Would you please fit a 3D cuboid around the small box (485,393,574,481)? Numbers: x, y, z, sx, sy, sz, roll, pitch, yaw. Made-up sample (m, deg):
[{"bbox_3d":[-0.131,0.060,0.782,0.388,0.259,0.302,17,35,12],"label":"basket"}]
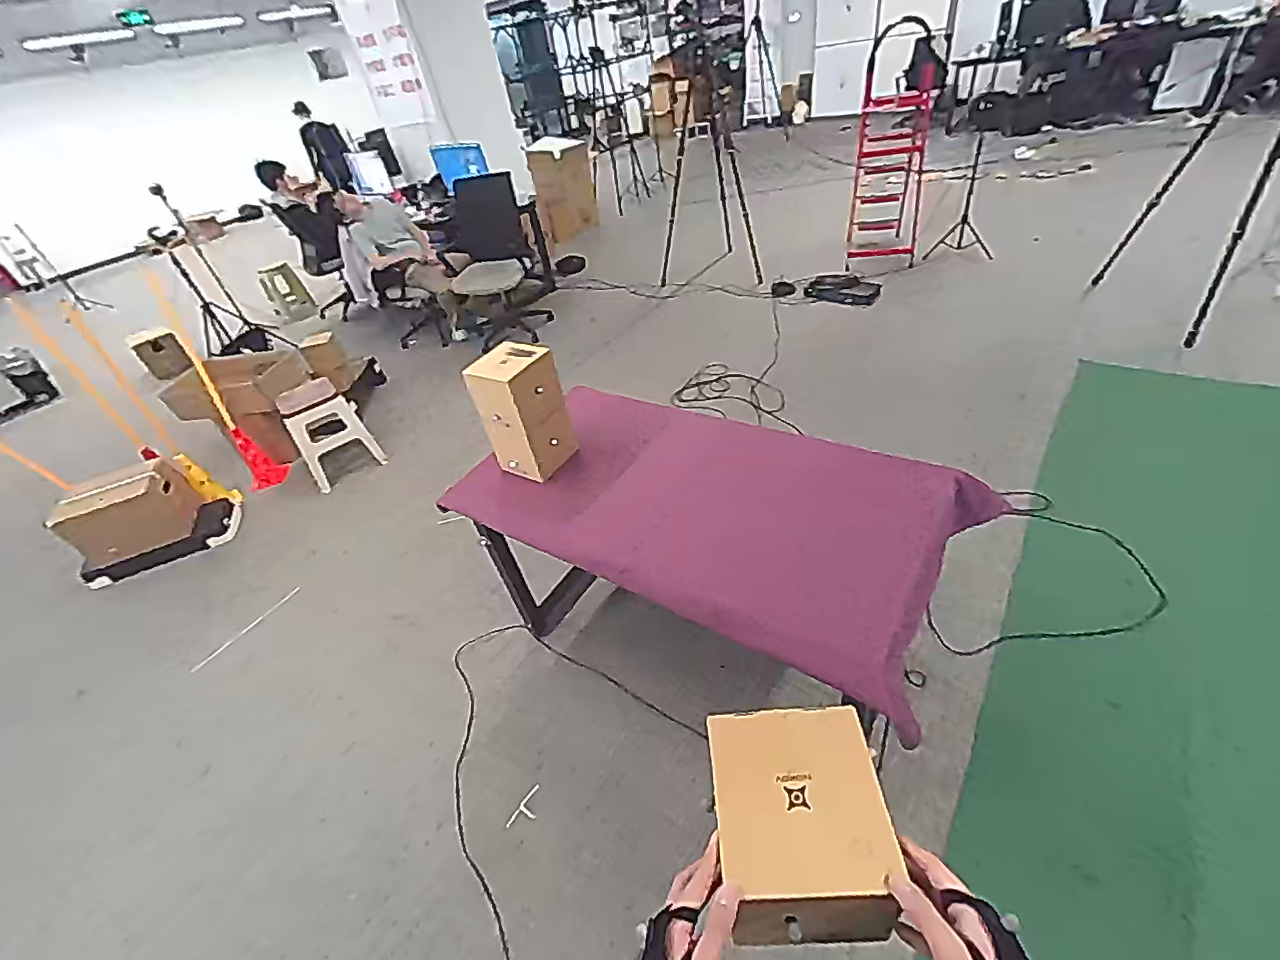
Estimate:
[{"bbox_3d":[-0.309,-0.125,1.560,0.168,0.176,0.179,16,47,30],"label":"small box"}]
